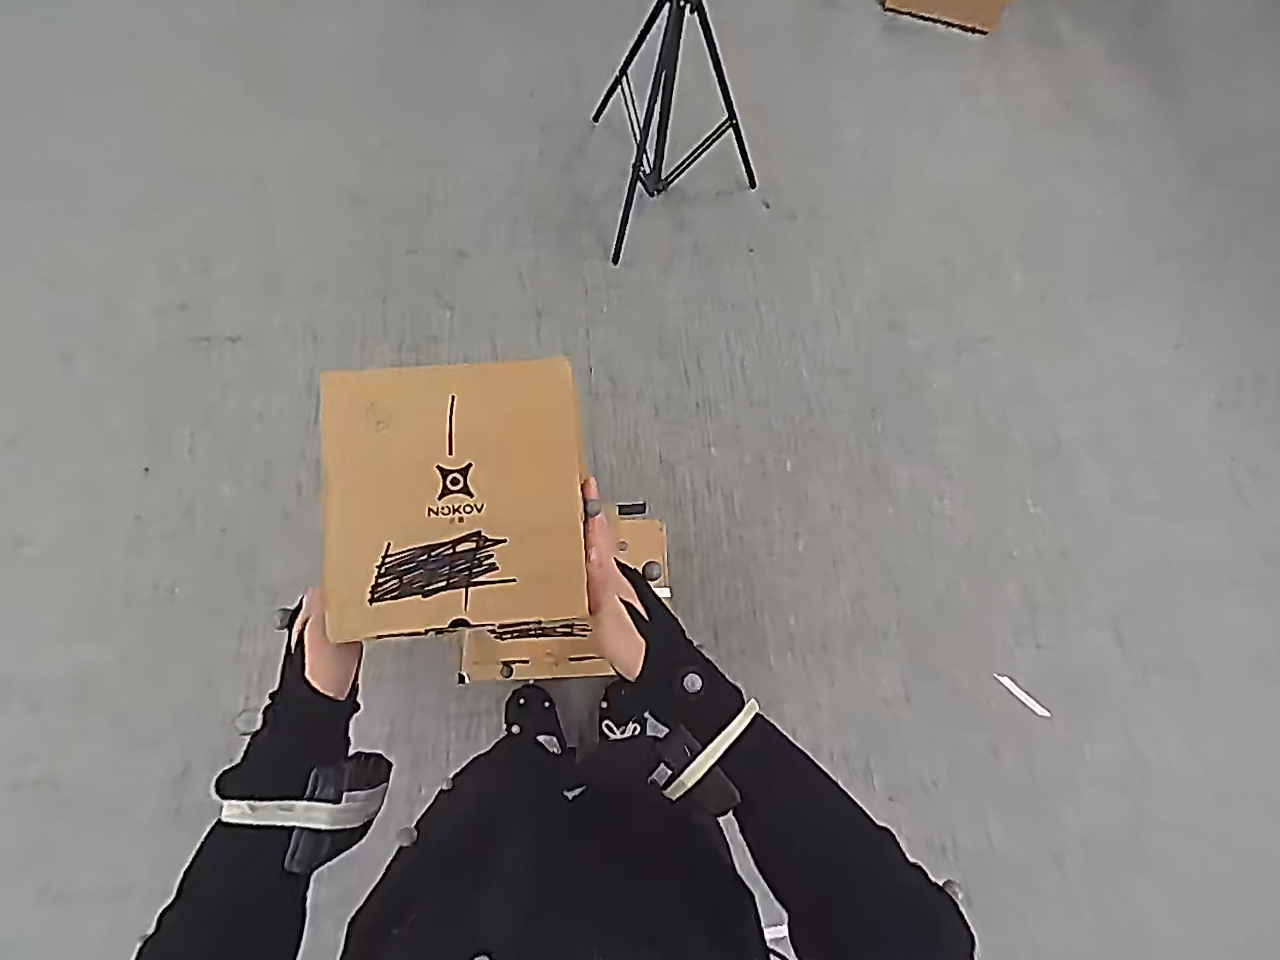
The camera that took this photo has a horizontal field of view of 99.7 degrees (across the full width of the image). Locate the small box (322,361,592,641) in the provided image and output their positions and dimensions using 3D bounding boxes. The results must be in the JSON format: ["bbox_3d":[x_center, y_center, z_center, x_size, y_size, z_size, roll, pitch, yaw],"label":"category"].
[{"bbox_3d":[-0.126,0.019,0.431,0.168,0.176,0.179,-4,82,-5],"label":"small box"}]

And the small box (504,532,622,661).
[{"bbox_3d":[-0.118,0.187,0.851,0.168,0.176,0.179,-3,74,-6],"label":"small box"}]
